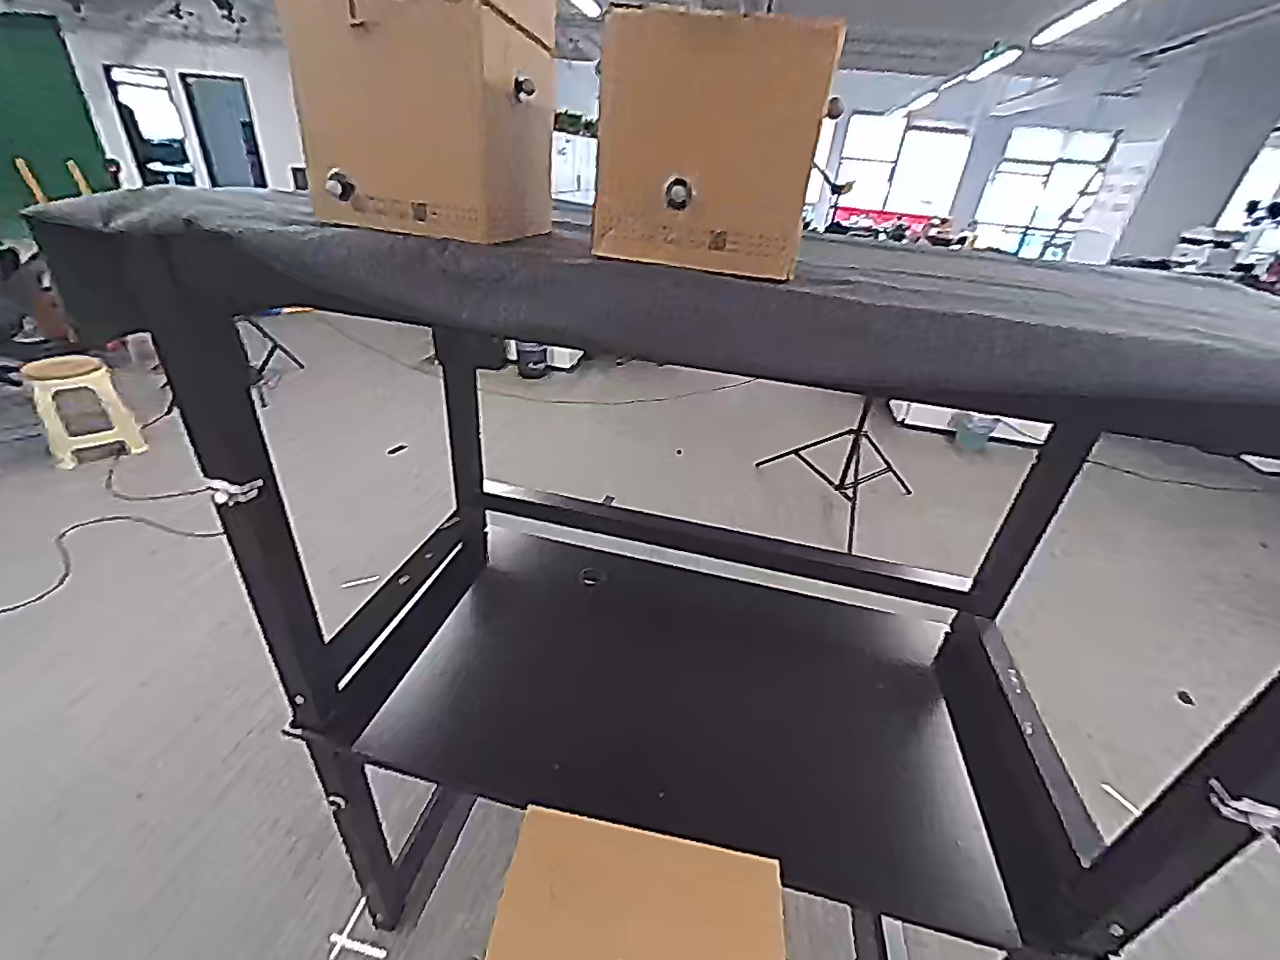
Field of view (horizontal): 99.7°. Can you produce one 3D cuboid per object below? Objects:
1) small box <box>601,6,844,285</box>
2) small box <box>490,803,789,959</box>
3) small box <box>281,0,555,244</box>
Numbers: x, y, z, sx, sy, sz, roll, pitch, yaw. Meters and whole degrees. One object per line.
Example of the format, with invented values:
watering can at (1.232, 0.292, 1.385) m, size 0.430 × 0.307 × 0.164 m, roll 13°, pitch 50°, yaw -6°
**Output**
small box at (0.066, -0.279, 0.477) m, size 0.168 × 0.176 × 0.179 m, roll 10°, pitch 29°, yaw 8°
small box at (-0.013, 0.337, 0.324) m, size 0.168 × 0.176 × 0.179 m, roll 11°, pitch 36°, yaw 2°
small box at (-0.185, -0.324, 0.509) m, size 0.168 × 0.176 × 0.179 m, roll 10°, pitch 28°, yaw 6°
